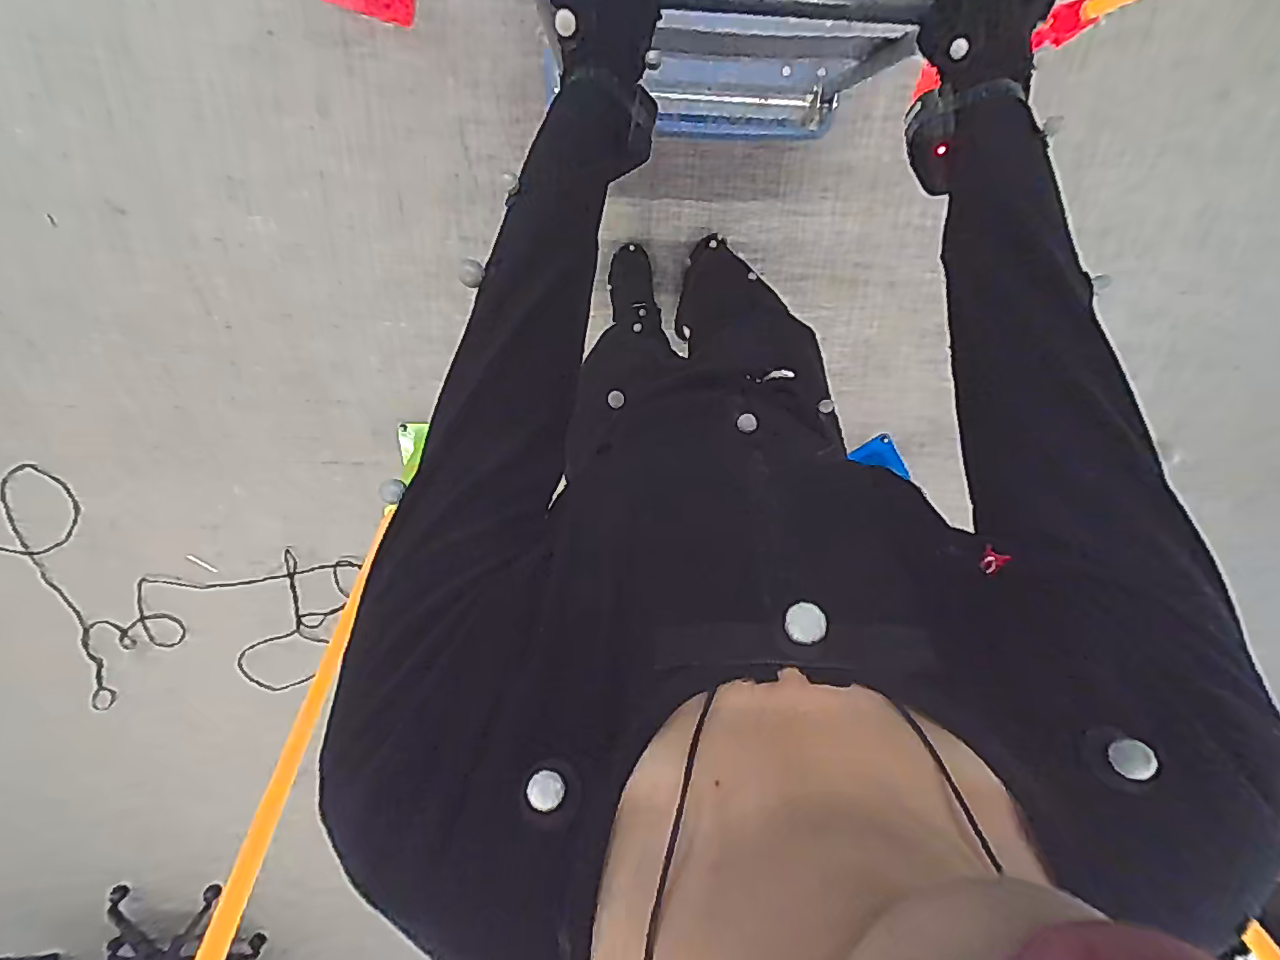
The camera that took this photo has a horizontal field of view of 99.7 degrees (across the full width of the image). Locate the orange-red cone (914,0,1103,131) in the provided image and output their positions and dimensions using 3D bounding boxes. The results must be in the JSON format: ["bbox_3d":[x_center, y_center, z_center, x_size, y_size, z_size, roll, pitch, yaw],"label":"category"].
[{"bbox_3d":[0.732,-0.835,1.038,0.198,0.360,0.199,12,113,-6],"label":"orange-red cone"}]
